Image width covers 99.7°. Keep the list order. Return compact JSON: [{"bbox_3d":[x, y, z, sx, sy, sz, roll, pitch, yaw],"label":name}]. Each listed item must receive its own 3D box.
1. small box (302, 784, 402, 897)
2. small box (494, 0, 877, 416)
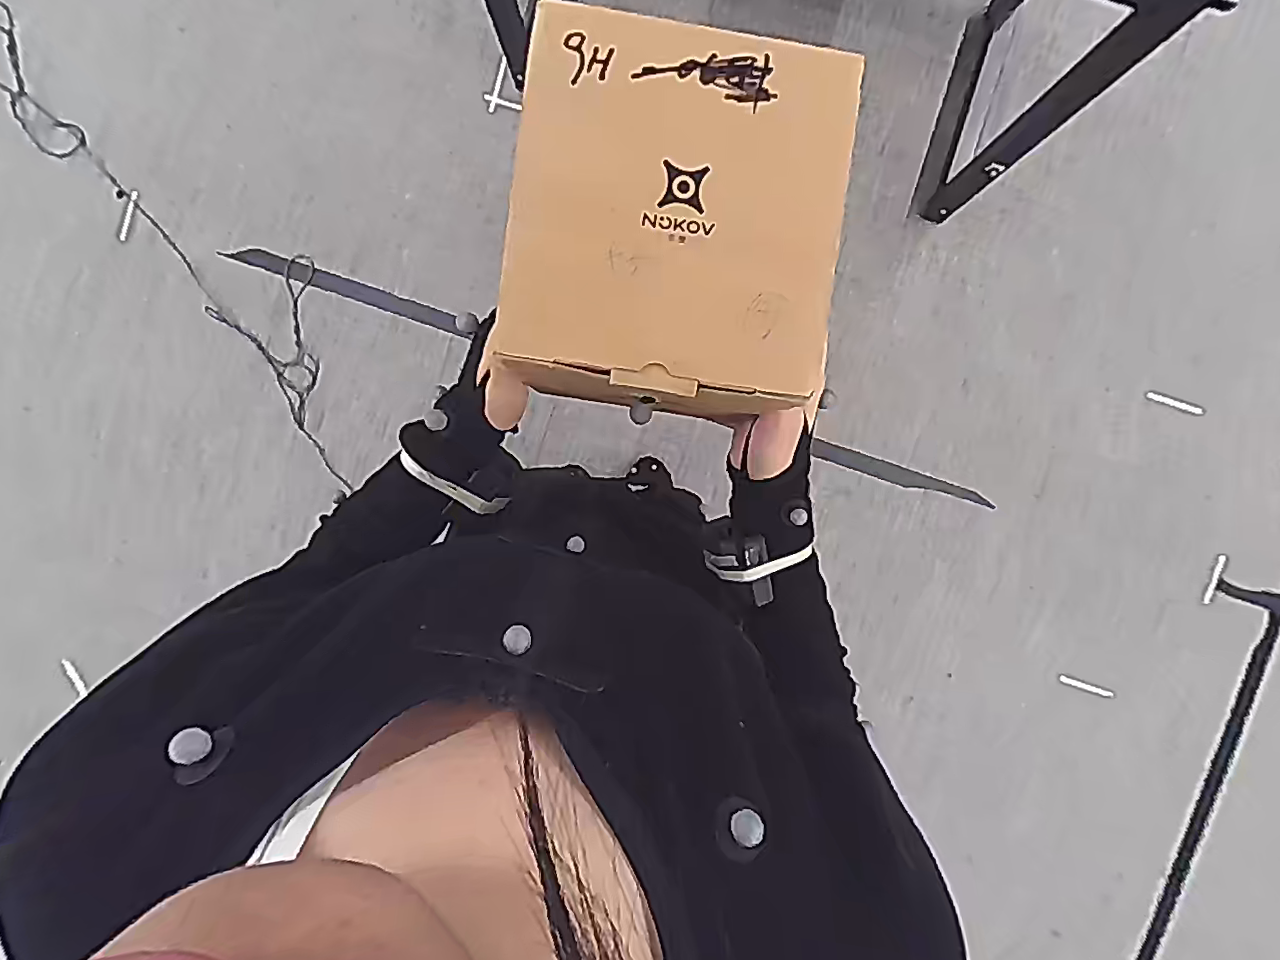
[{"bbox_3d":[-0.762,0.956,1.449,0.168,0.176,0.179,12,93,0],"label":"small box"},{"bbox_3d":[0.018,-0.139,0.342,0.168,0.176,0.179,9,93,-4],"label":"small box"}]
